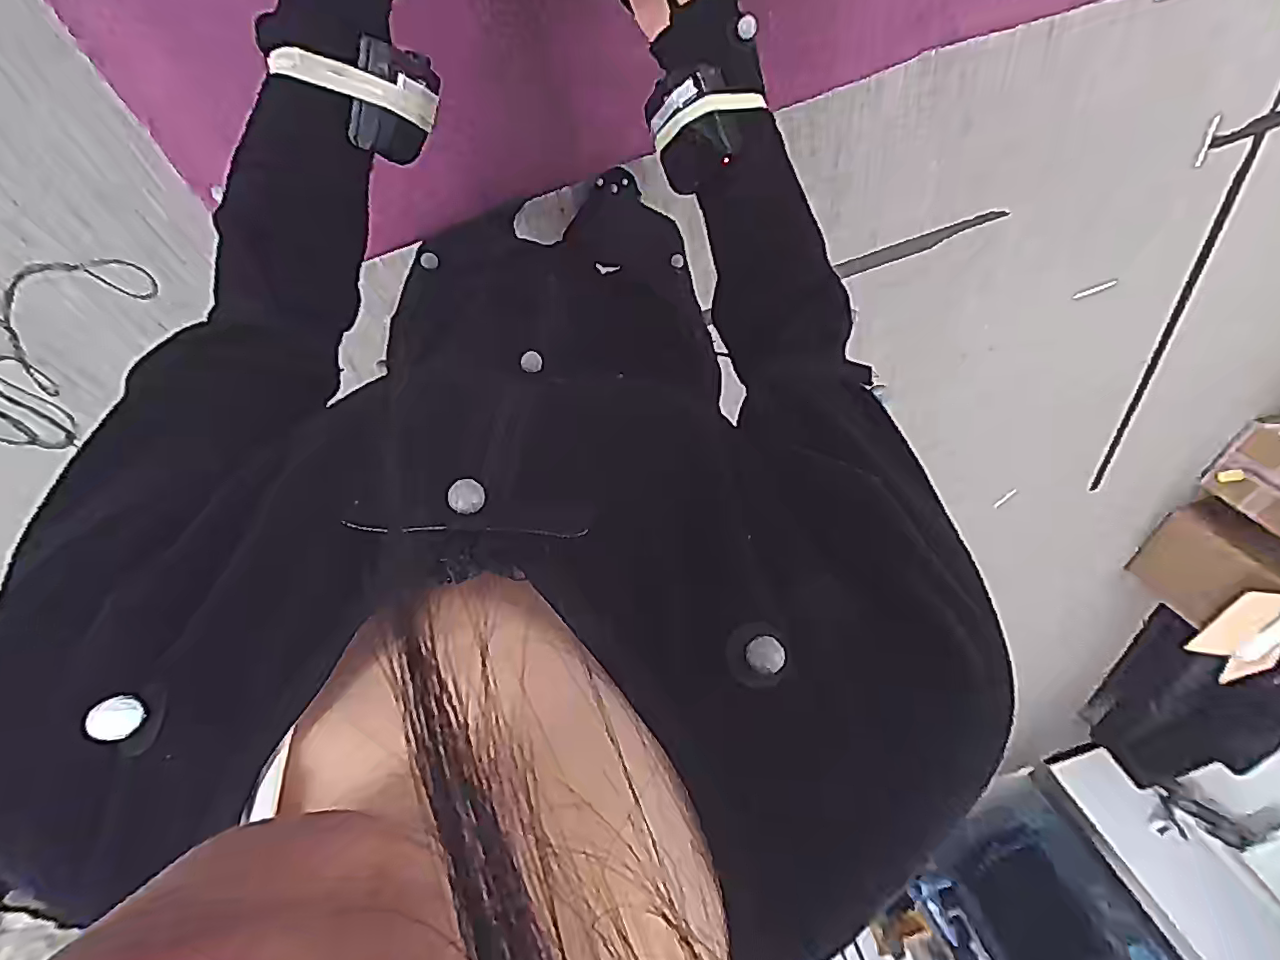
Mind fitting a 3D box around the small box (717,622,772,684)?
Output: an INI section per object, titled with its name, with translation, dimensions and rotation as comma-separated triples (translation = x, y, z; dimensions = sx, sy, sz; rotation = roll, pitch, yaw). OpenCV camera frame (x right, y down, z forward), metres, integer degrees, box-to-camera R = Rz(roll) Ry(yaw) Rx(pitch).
[small box]
translation = 0.445, 0.736, 2.307
dimensions = 0.168, 0.176, 0.179
rotation = -24, 133, 2
